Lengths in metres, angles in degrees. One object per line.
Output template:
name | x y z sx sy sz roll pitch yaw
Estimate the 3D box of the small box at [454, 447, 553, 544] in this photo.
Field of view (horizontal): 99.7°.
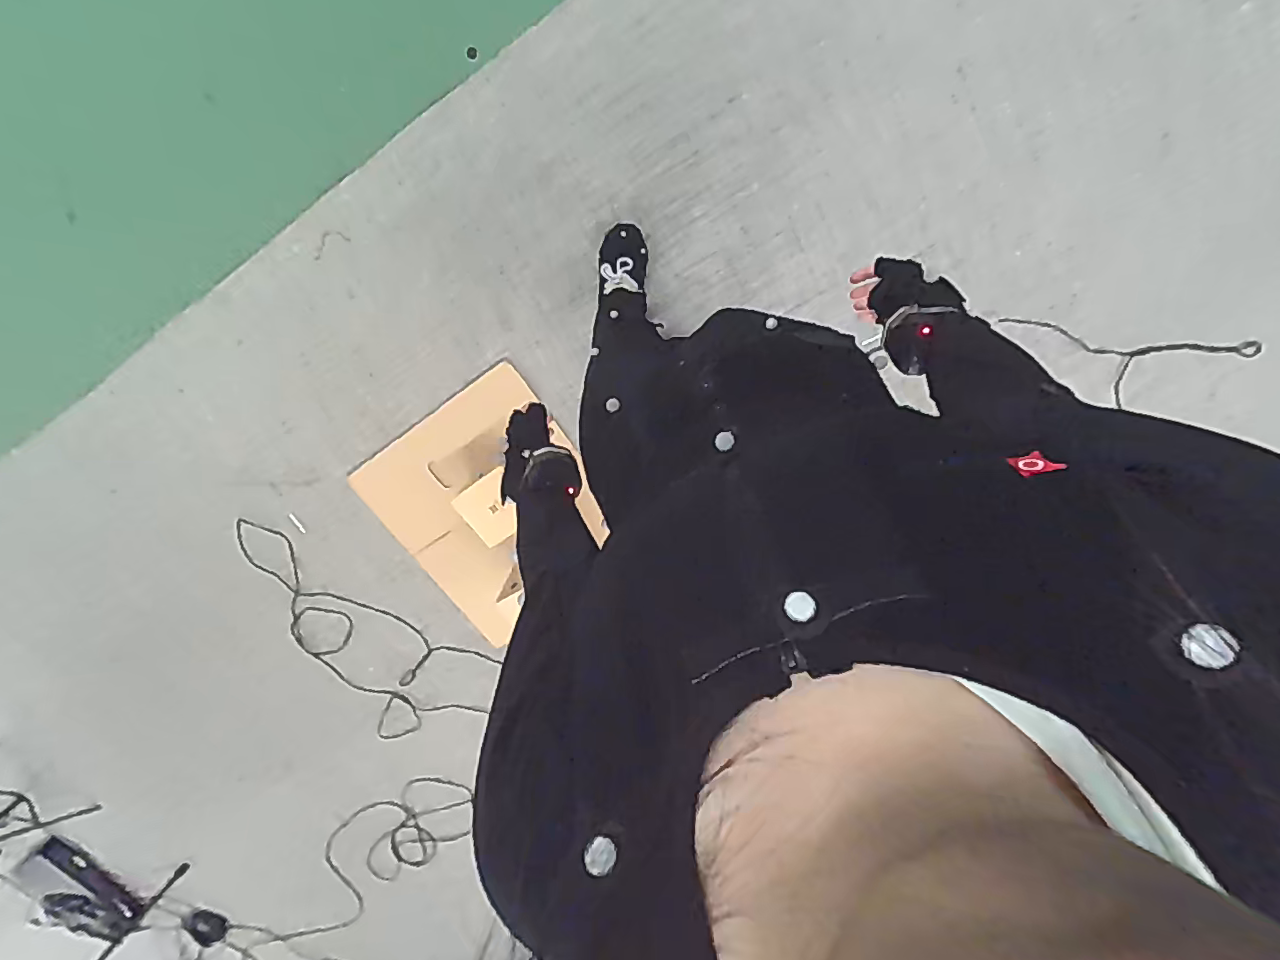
small box | -0.358 0.038 1.459 0.179 0.176 0.168 -34 104 12
